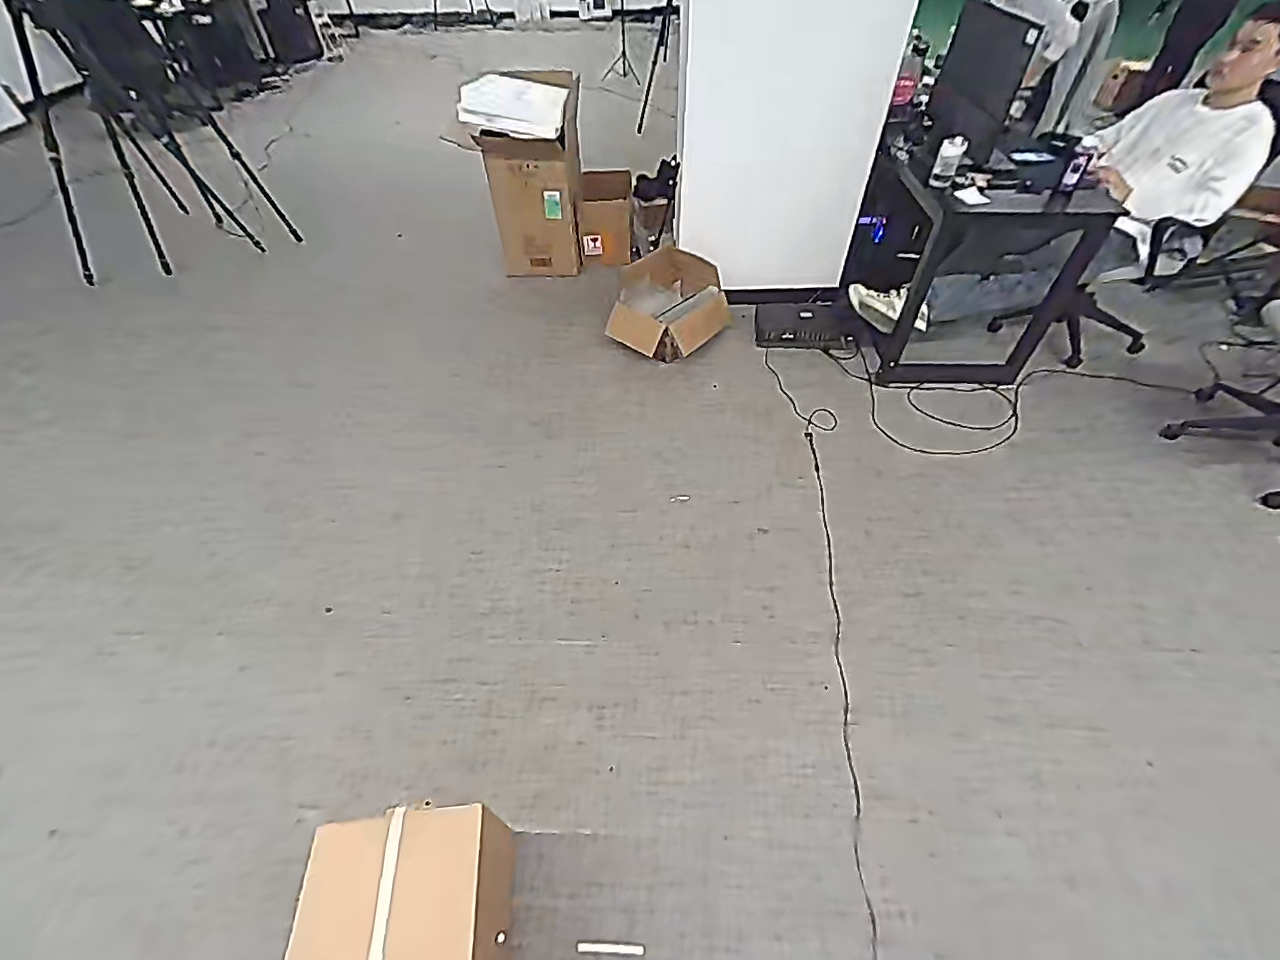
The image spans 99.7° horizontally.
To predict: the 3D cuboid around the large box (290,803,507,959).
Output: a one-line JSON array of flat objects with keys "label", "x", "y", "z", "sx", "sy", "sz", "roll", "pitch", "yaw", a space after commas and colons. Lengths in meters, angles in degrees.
[{"label": "large box", "x": -0.440, "y": 0.892, "z": 1.033, "sx": 0.320, "sy": 0.320, "sz": 0.408, "roll": -6, "pitch": 49, "yaw": -3}]
